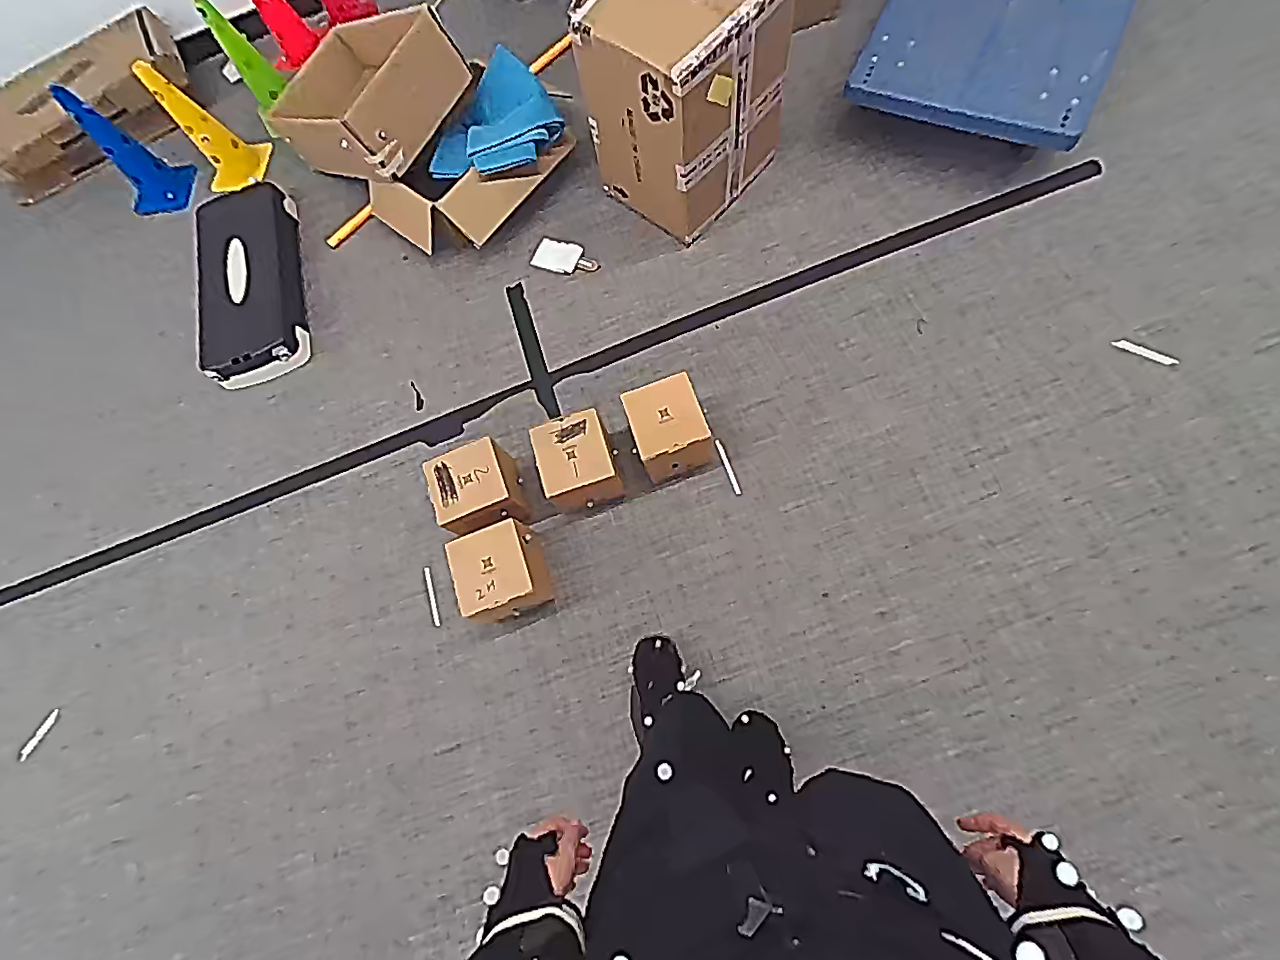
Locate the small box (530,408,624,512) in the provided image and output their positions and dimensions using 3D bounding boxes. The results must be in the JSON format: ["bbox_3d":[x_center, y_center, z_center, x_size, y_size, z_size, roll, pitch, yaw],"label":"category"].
[{"bbox_3d":[-0.147,-0.042,1.297,0.168,0.176,0.179,-18,72,2],"label":"small box"}]

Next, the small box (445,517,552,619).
[{"bbox_3d":[-0.319,0.208,1.243,0.168,0.176,0.179,-22,72,2],"label":"small box"}]

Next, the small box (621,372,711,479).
[{"bbox_3d":[0.064,-0.125,1.297,0.168,0.176,0.179,-20,72,1],"label":"small box"}]
